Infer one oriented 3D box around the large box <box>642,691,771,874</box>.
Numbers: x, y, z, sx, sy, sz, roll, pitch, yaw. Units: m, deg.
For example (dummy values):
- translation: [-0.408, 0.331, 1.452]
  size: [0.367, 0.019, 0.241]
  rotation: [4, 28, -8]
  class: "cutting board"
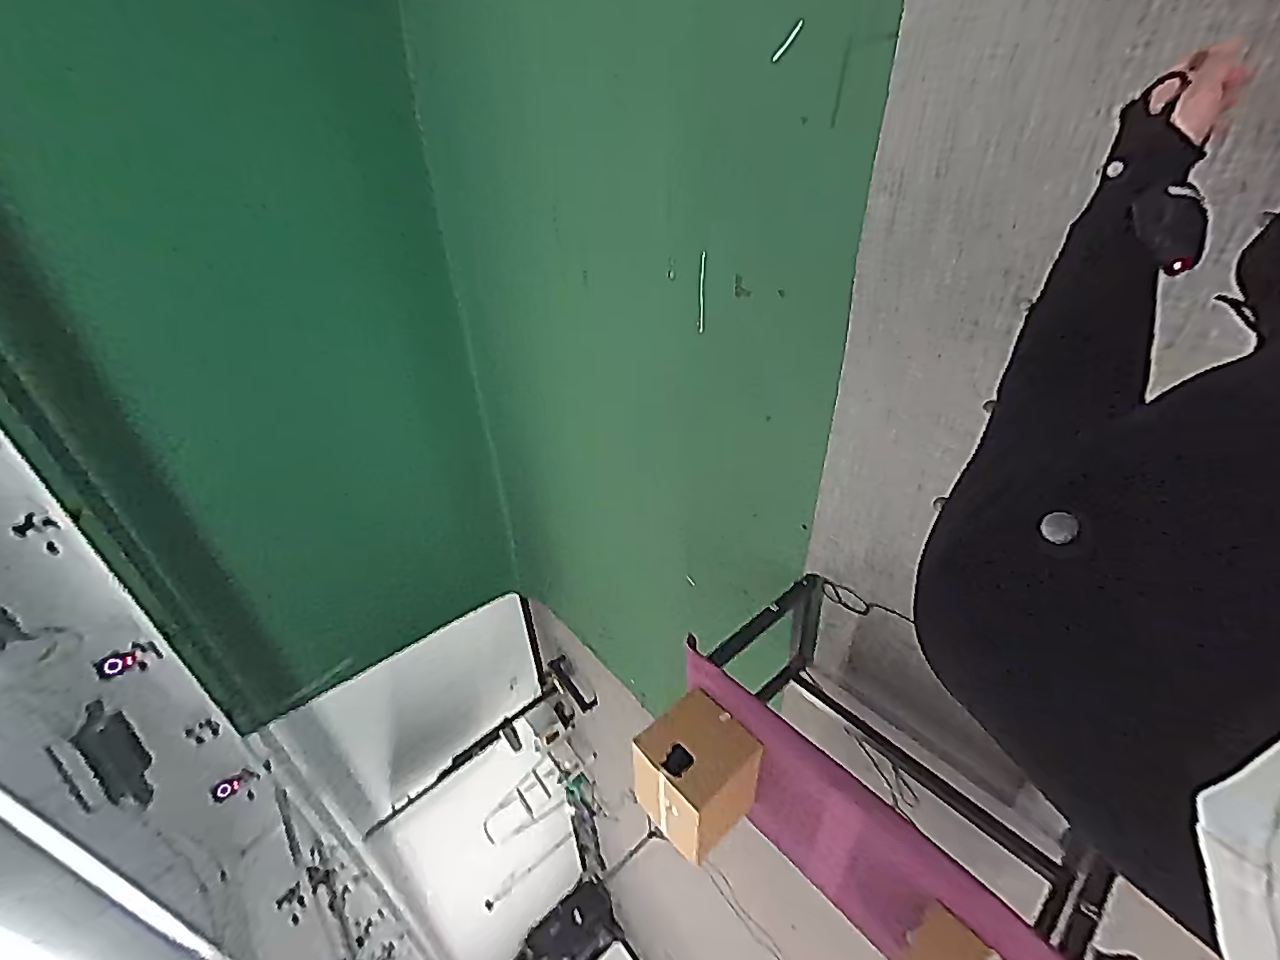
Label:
- translation: [0.228, 1.031, 1.866]
  size: [0.320, 0.320, 0.408]
  rotation: [29, 135, 40]
  class: "large box"
